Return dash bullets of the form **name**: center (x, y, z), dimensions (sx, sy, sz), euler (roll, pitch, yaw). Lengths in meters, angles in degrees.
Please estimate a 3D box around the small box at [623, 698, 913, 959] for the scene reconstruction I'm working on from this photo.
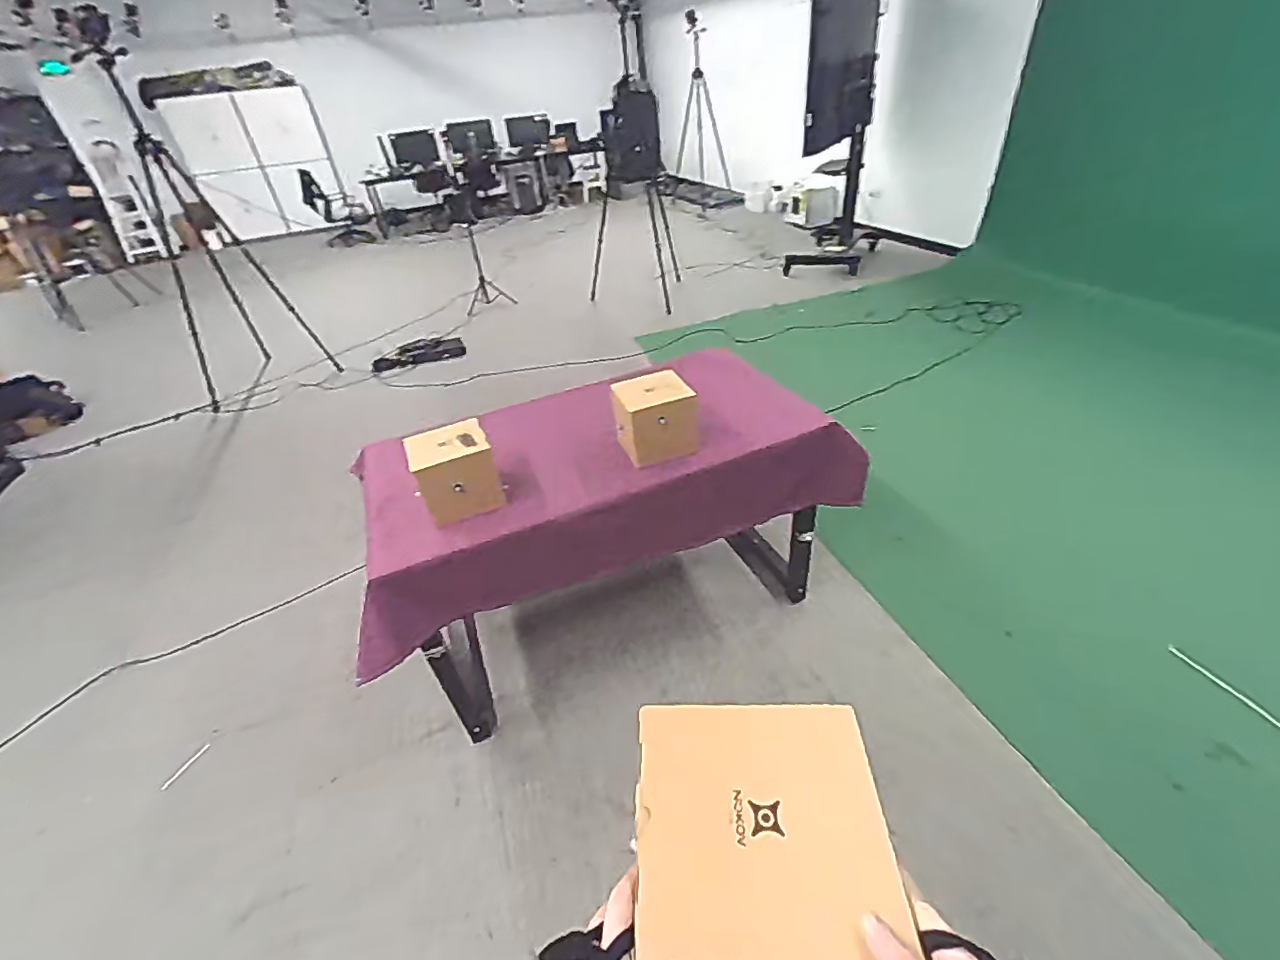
- **small box**: center (0.083, 0.294, 0.434), dimensions (0.179, 0.176, 0.168), euler (-2, 40, 3)

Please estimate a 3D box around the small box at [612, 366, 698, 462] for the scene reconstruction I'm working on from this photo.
- **small box**: center (0.042, -0.169, 1.397), dimensions (0.179, 0.176, 0.168), euler (-16, 38, -12)

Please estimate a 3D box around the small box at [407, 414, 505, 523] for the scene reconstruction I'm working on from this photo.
- **small box**: center (-0.432, -0.027, 1.287), dimensions (0.179, 0.176, 0.168), euler (-21, 39, -16)
